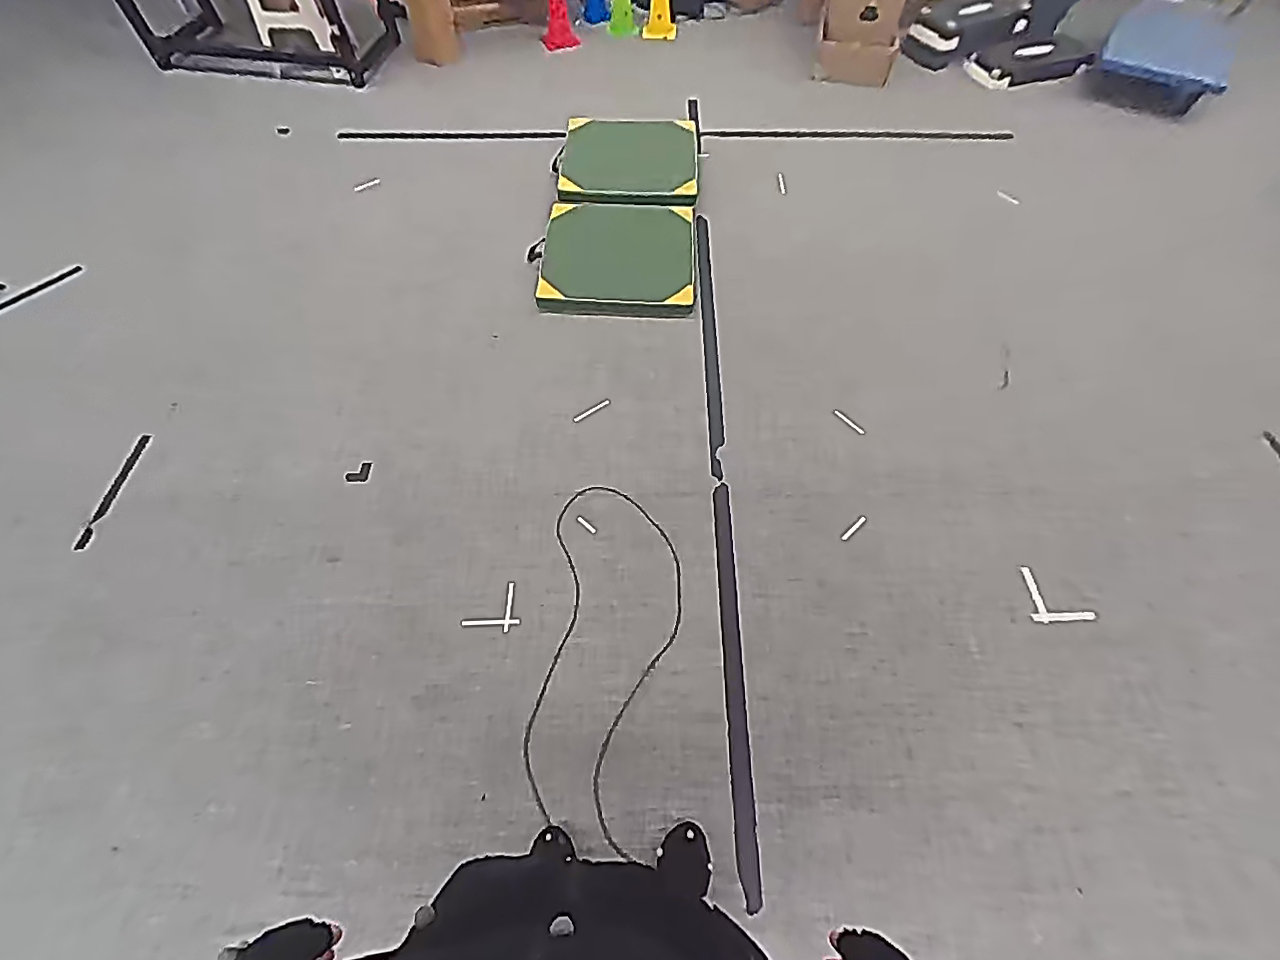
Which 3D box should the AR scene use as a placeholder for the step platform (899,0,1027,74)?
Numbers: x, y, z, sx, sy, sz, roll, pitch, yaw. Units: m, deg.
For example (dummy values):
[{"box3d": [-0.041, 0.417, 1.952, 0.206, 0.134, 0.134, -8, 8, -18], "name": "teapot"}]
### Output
[{"box3d": [1.856, -2.563, 3.102, 0.684, 0.204, 0.286, -25, 63, -14], "name": "step platform"}]
